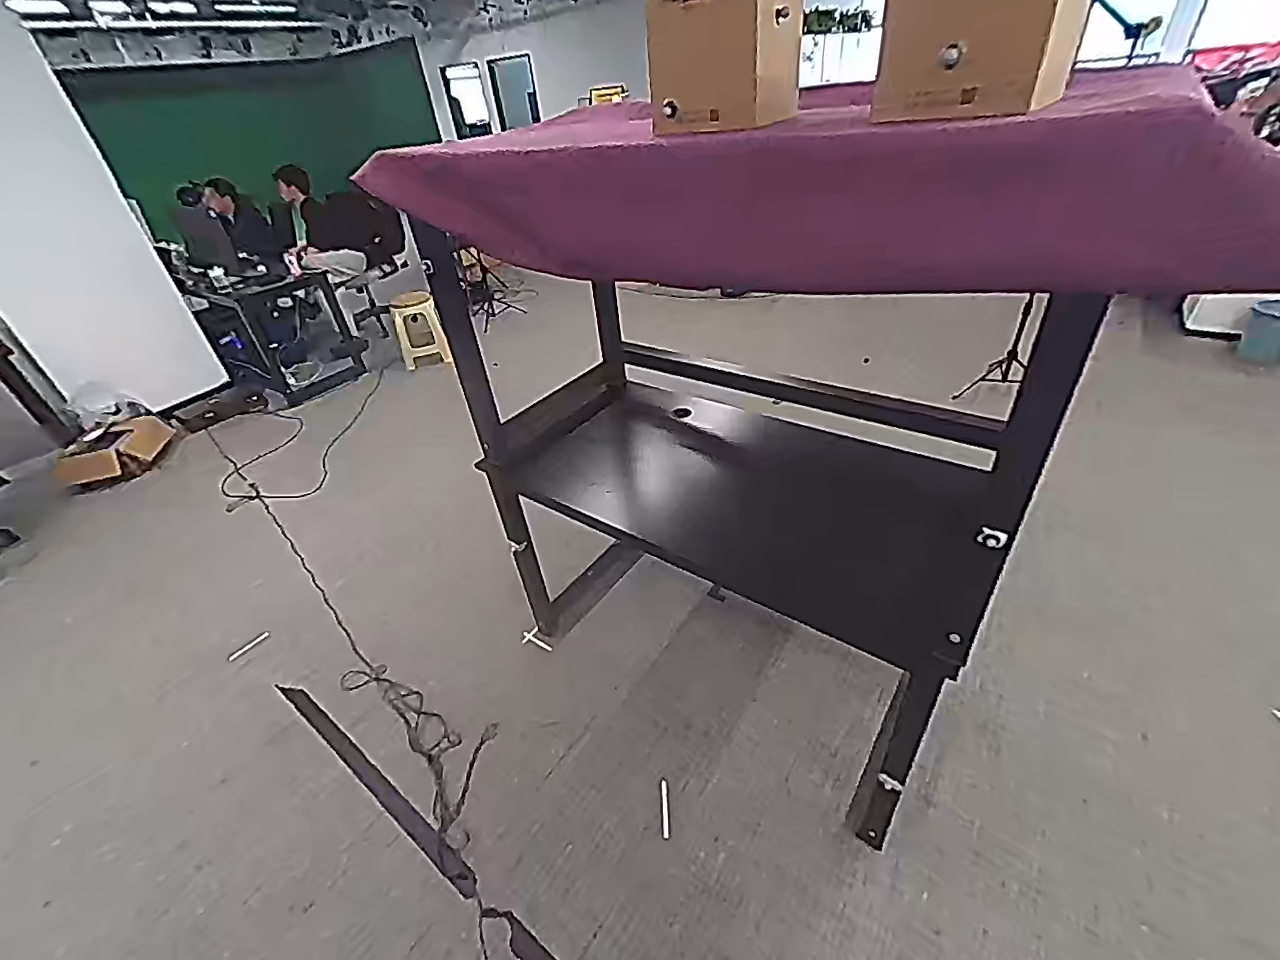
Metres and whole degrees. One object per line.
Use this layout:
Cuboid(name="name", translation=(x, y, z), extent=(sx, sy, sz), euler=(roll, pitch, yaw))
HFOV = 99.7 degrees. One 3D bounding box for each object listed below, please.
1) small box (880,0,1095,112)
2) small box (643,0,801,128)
Cuboid(name="small box", translation=(0.379, -0.506, 0.583), extent=(0.168, 0.176, 0.179), euler=(22, 45, 35))
Cuboid(name="small box", translation=(0.124, -0.609, 0.770), extent=(0.168, 0.176, 0.179), euler=(16, 41, 28))
